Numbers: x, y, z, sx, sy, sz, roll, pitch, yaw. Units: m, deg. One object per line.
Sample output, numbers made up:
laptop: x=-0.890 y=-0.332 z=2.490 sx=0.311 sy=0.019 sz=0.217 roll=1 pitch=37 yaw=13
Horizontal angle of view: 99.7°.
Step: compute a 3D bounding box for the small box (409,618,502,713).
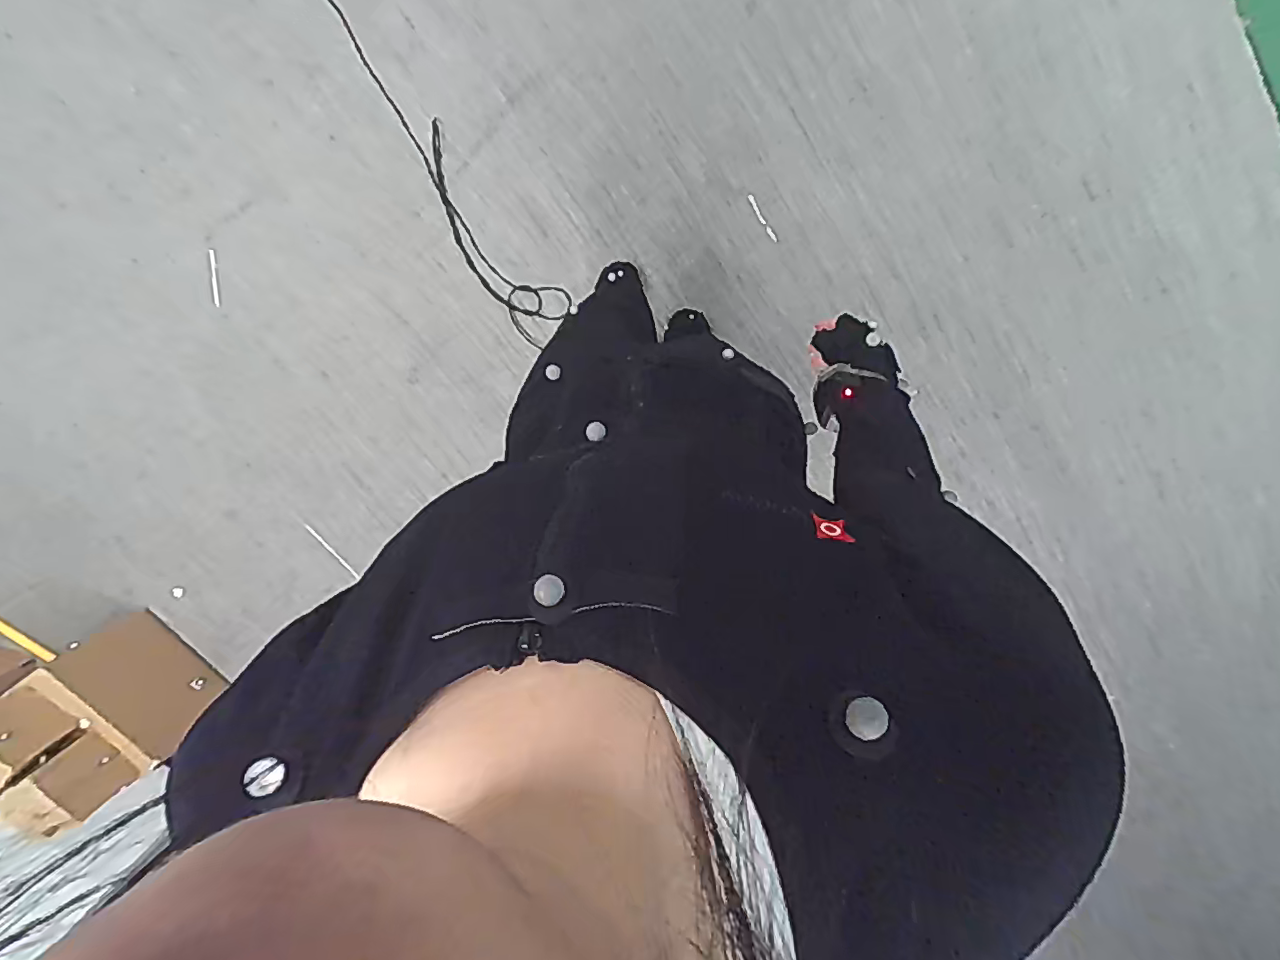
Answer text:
small box: x=-0.547 y=0.553 z=1.625 sx=0.179 sy=0.176 sz=0.168 roll=-35 pitch=104 yaw=13
